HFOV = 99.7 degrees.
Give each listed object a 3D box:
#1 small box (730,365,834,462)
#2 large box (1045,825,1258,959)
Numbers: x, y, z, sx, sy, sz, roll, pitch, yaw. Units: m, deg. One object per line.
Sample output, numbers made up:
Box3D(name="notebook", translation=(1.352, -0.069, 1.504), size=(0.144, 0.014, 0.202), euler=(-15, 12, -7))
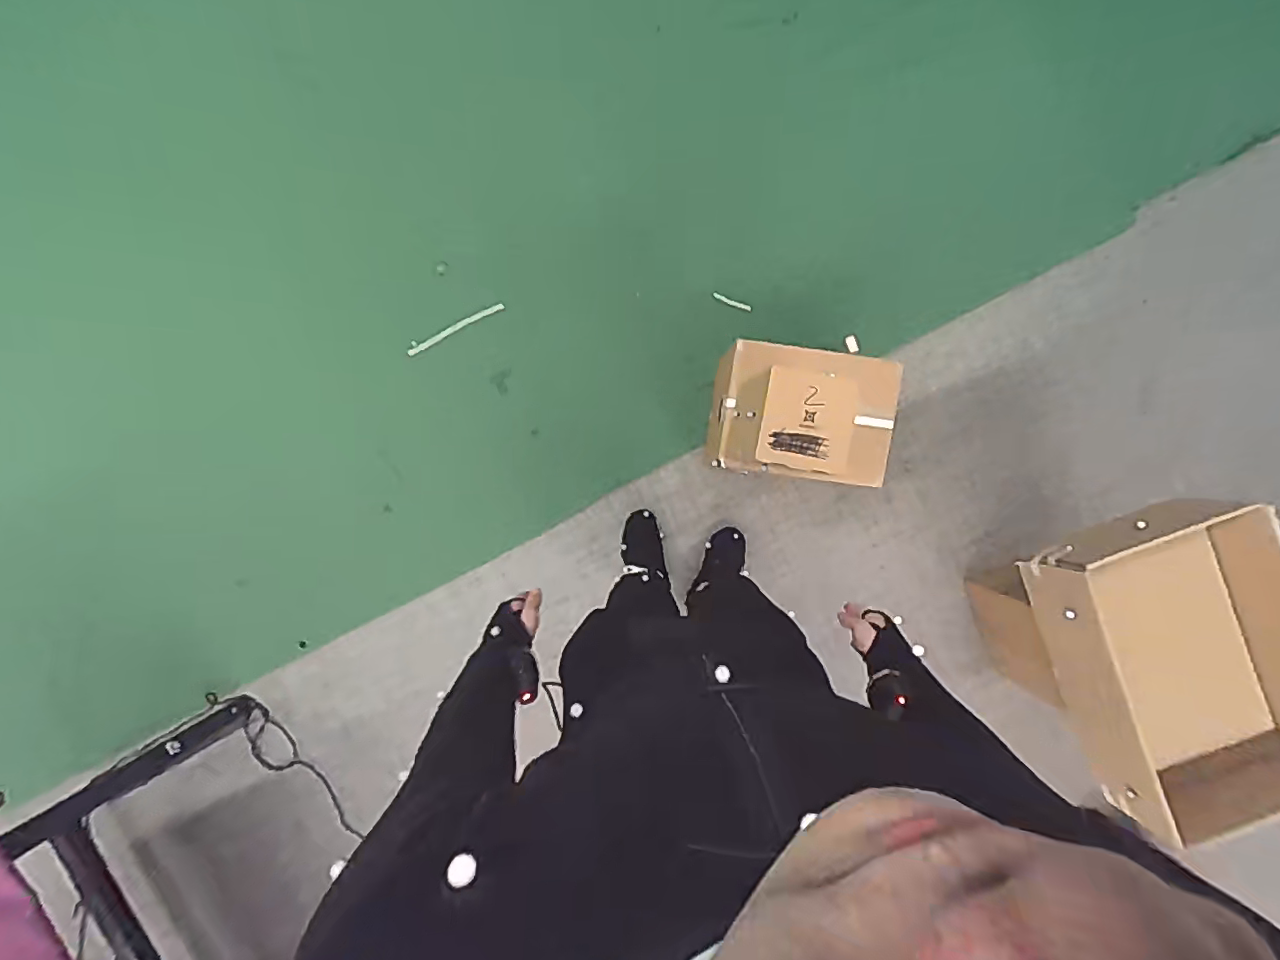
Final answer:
Box3D(name="small box", translation=(0.305, -0.141, 1.200), size=(0.168, 0.176, 0.179), euler=(11, 92, -2))
Box3D(name="large box", translation=(1.388, 1.253, 1.491), size=(0.320, 0.320, 0.408), euler=(-4, 91, 0))
